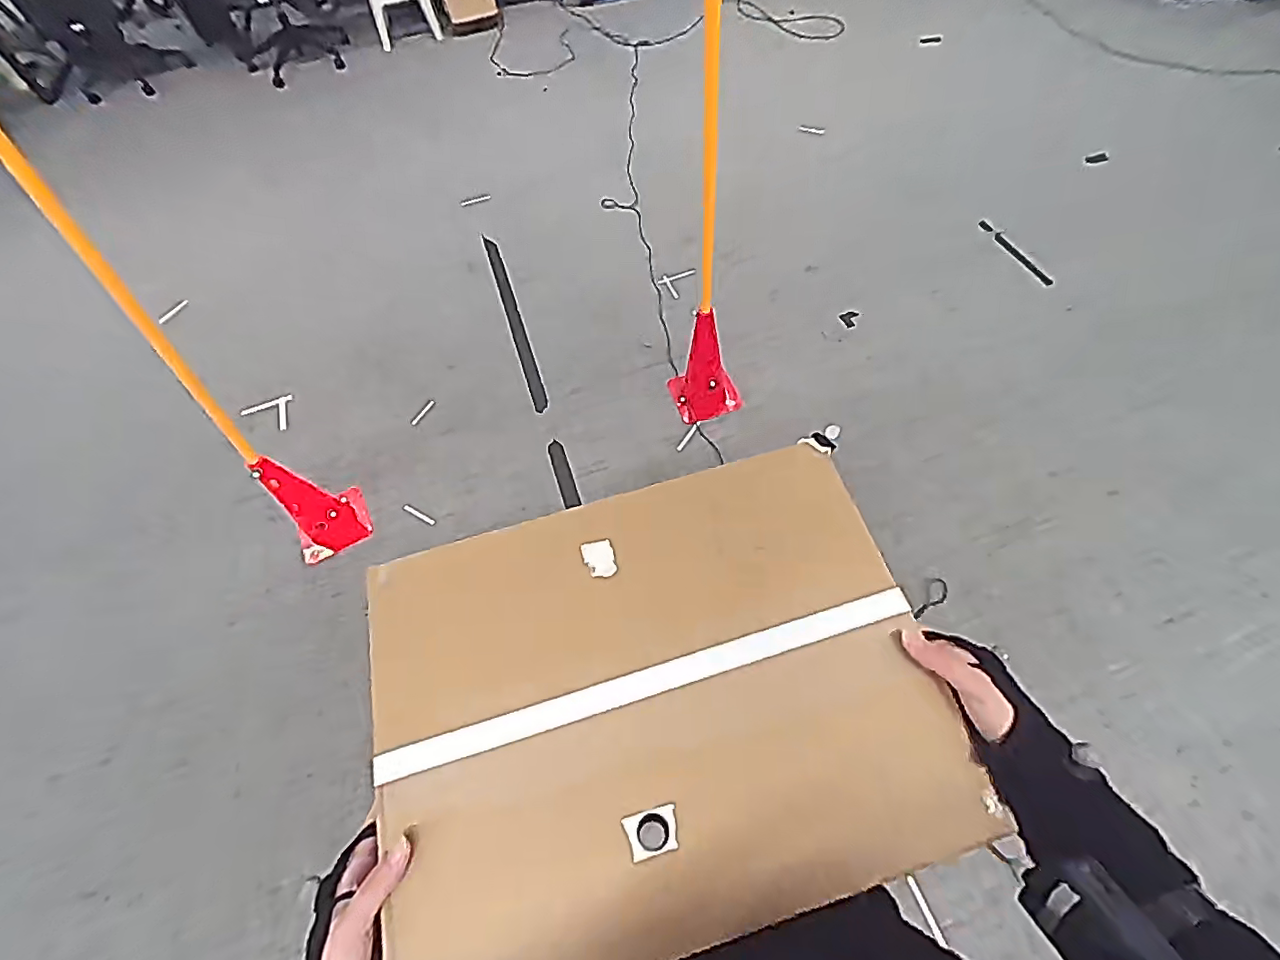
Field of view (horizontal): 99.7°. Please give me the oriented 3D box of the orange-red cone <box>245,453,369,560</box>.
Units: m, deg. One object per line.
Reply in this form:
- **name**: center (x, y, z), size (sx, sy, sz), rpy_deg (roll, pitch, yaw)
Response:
- **orange-red cone**: center (-0.932, 0.040, 1.466), size (0.199, 0.360, 0.198), rpy_deg (-27, 60, -10)
